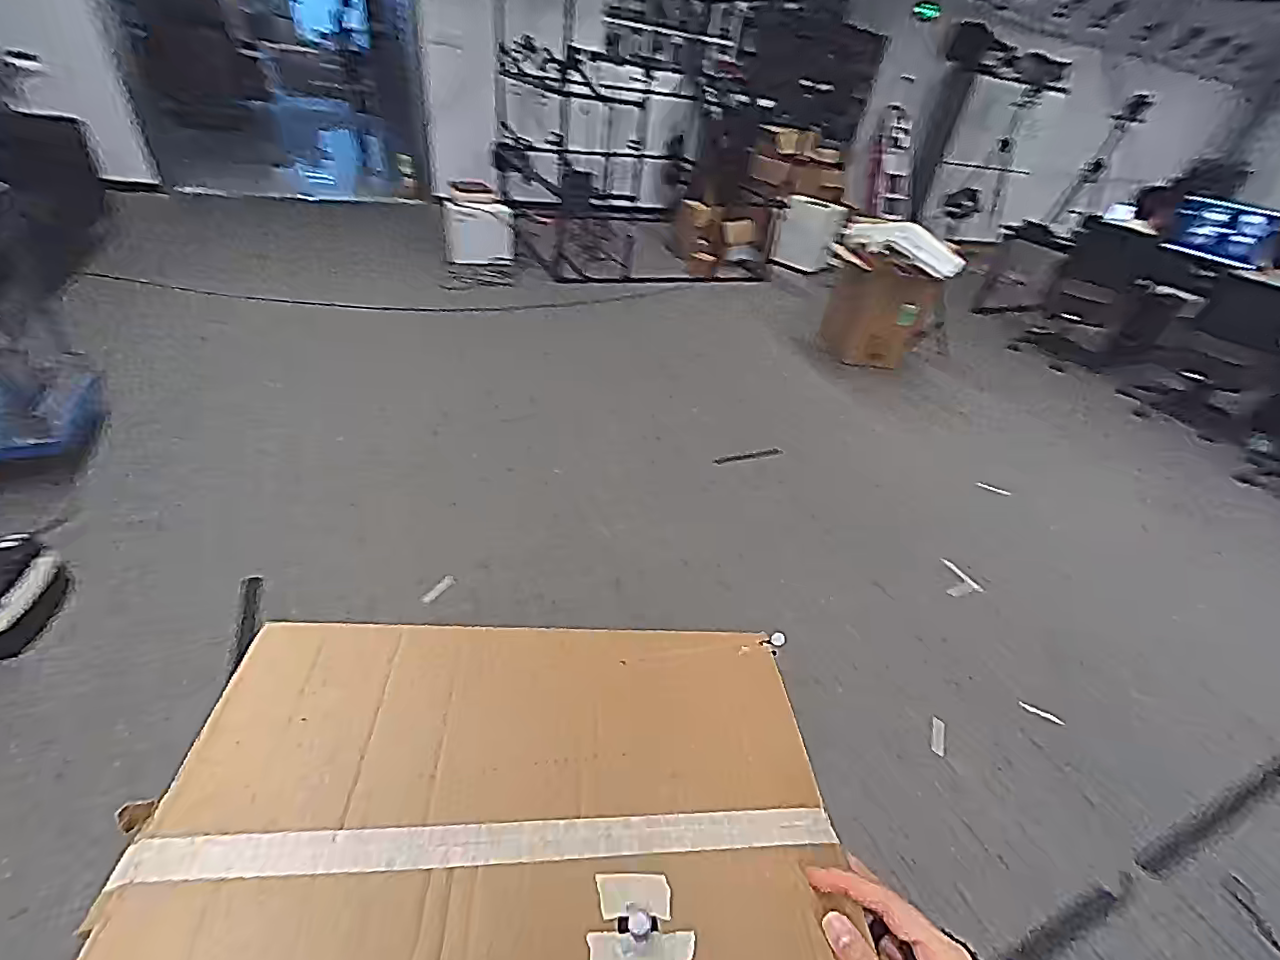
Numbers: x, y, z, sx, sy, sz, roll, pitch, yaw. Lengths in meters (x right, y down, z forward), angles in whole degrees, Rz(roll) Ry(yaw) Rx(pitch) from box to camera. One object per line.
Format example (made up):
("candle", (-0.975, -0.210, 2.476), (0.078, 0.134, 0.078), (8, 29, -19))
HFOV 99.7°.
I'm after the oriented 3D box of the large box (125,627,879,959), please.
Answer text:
("large box", (-0.087, 0.340, 0.420), (0.408, 0.320, 0.320), (5, 38, -10))
